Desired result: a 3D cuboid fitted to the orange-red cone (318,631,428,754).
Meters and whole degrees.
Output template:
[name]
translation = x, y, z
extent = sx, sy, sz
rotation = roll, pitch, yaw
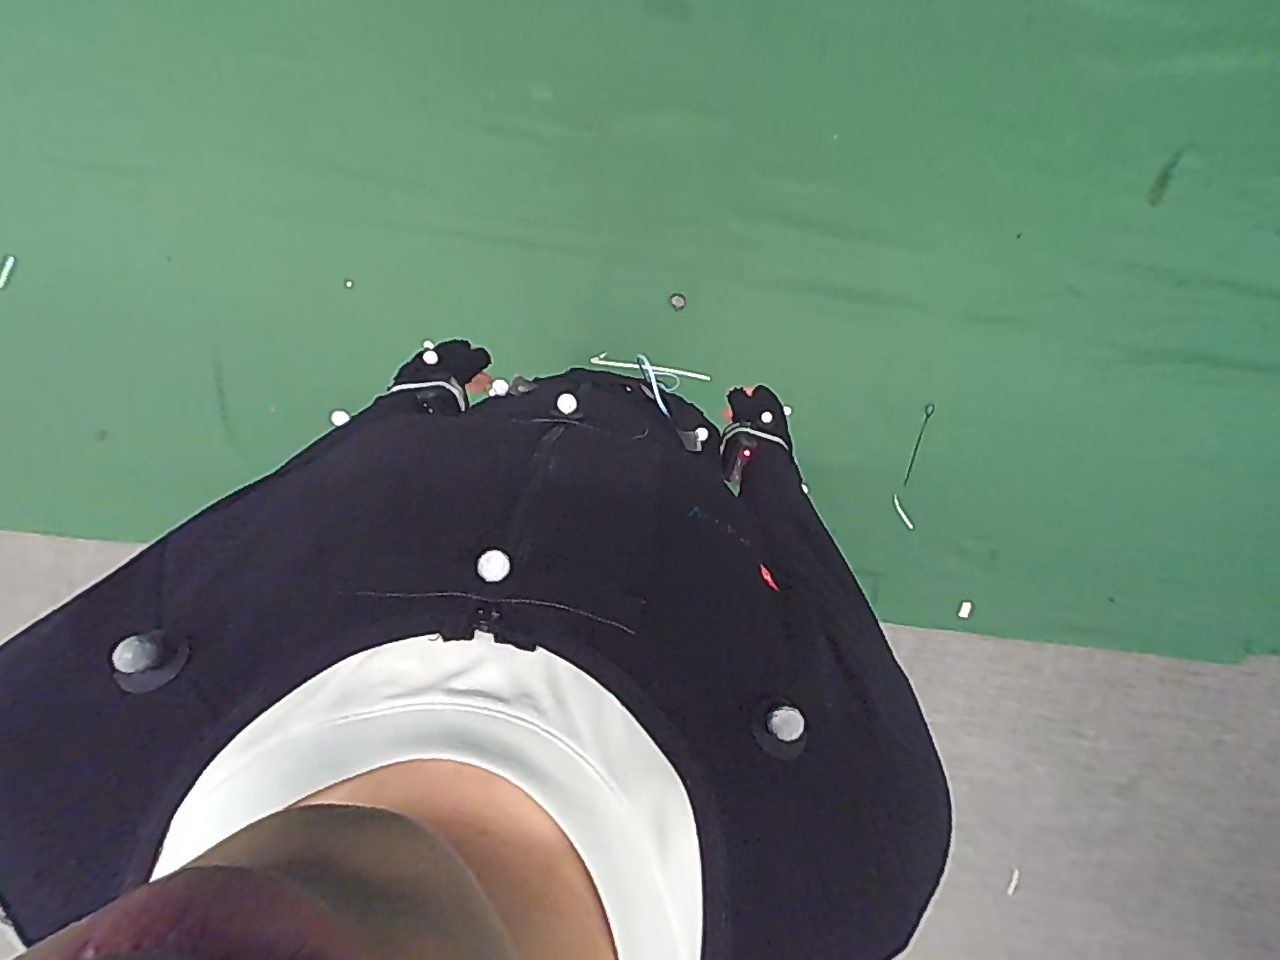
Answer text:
[orange-red cone]
translation = -0.723, 0.580, 1.416
extent = 0.198, 0.360, 0.199
rotation = 8, 103, -2
